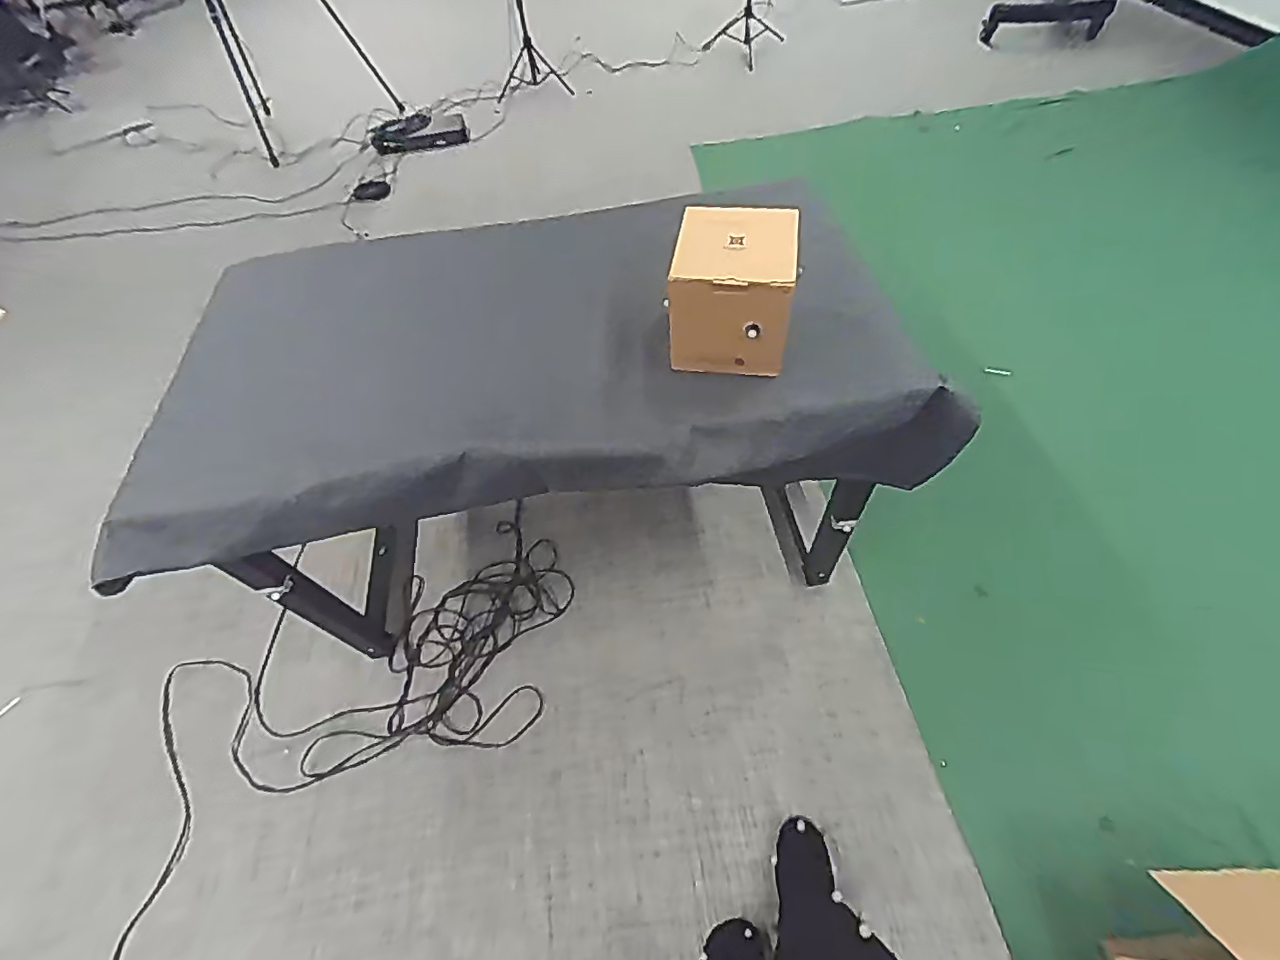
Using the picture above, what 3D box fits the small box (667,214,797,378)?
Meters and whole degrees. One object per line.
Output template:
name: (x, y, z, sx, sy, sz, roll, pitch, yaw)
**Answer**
small box: (0.137, -0.272, 0.812, 0.168, 0.176, 0.179, 6, 55, 9)
